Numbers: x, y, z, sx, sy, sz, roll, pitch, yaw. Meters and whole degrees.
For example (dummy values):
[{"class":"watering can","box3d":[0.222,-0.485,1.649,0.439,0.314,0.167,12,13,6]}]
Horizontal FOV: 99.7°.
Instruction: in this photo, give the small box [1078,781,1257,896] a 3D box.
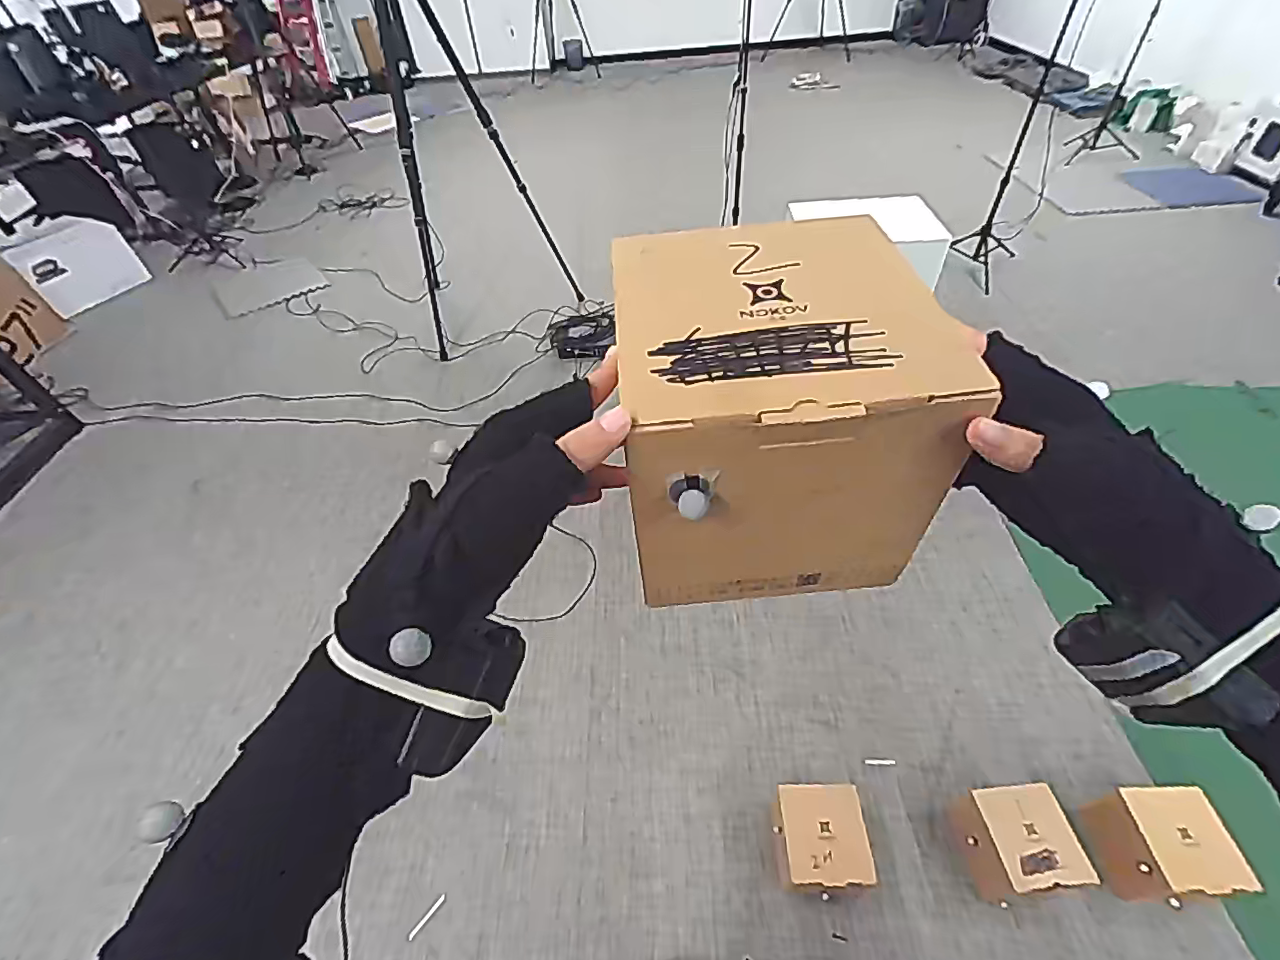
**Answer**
[{"class":"small box","box3d":[1.074,0.746,1.125,0.168,0.176,0.179,-3,47,3]}]

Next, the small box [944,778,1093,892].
[{"class":"small box","box3d":[0.782,0.752,1.140,0.168,0.176,0.179,-5,46,-1]}]

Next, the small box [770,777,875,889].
[{"class":"small box","box3d":[0.380,0.758,1.161,0.168,0.176,0.179,-2,48,4]}]
